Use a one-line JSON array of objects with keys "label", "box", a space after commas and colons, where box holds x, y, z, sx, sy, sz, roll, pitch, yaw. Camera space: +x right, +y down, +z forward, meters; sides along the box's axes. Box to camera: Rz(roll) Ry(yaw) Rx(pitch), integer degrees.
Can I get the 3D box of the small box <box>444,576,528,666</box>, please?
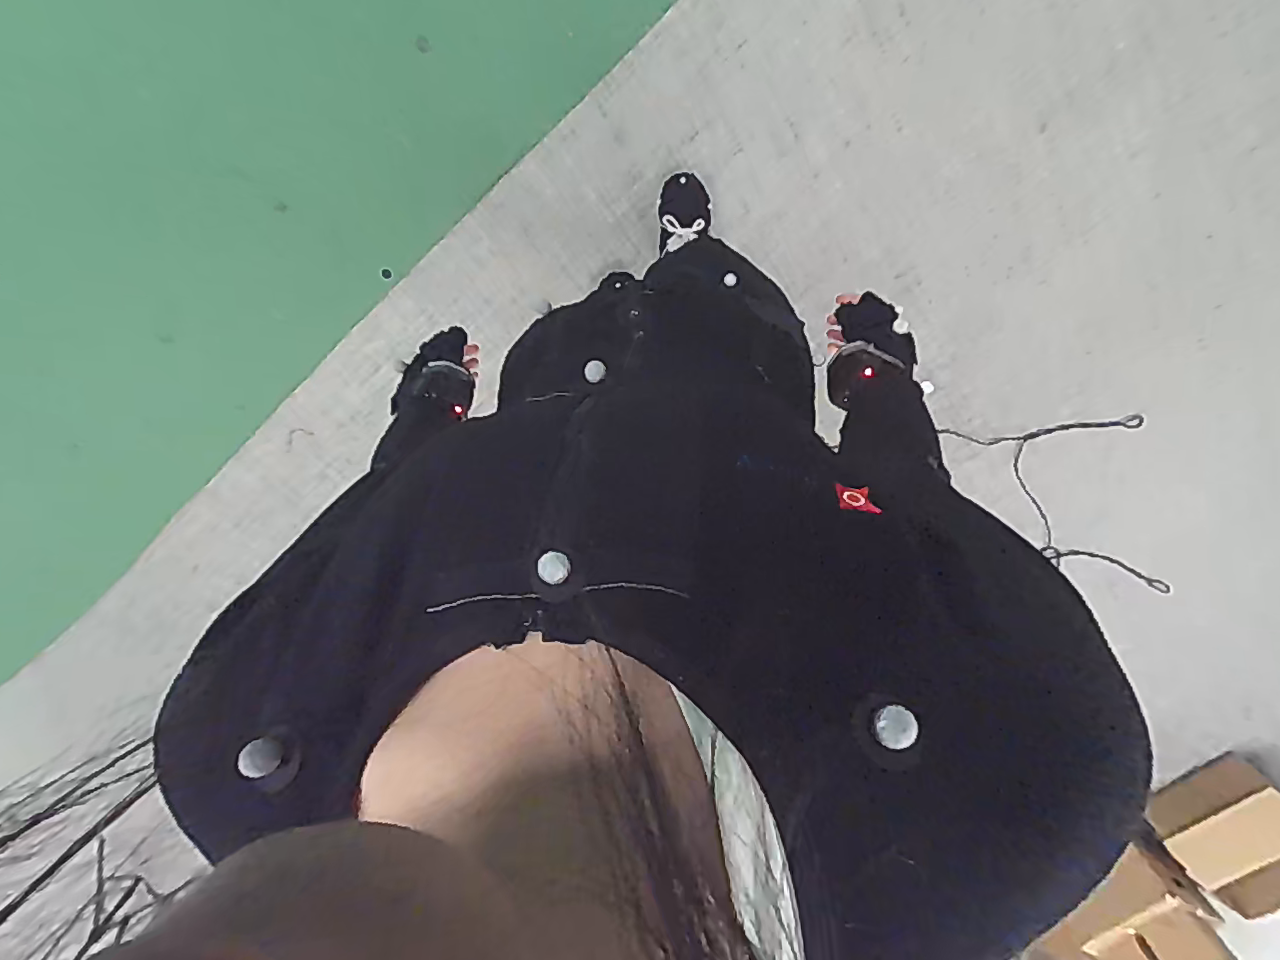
[{"label": "small box", "box": [-0.472, 0.437, 1.689, 0.179, 0.176, 0.168, -41, 108, 17]}]
